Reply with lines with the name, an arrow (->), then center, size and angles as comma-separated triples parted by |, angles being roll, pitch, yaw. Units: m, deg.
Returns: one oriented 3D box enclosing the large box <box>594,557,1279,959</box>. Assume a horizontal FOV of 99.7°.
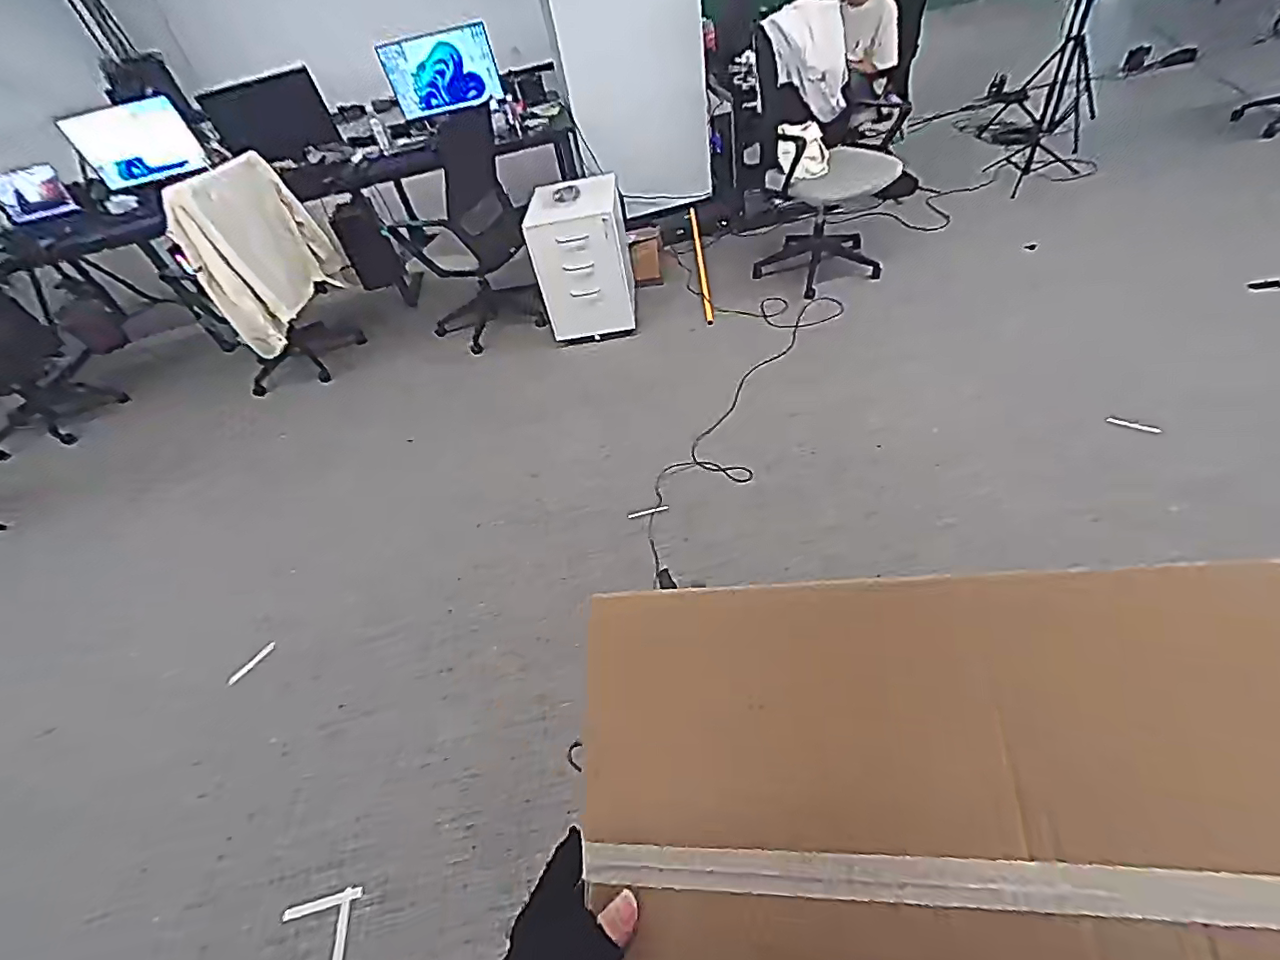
large box -> 0.199, 0.255, 0.429 | 0.408, 0.320, 0.320 | -6, 71, 14
